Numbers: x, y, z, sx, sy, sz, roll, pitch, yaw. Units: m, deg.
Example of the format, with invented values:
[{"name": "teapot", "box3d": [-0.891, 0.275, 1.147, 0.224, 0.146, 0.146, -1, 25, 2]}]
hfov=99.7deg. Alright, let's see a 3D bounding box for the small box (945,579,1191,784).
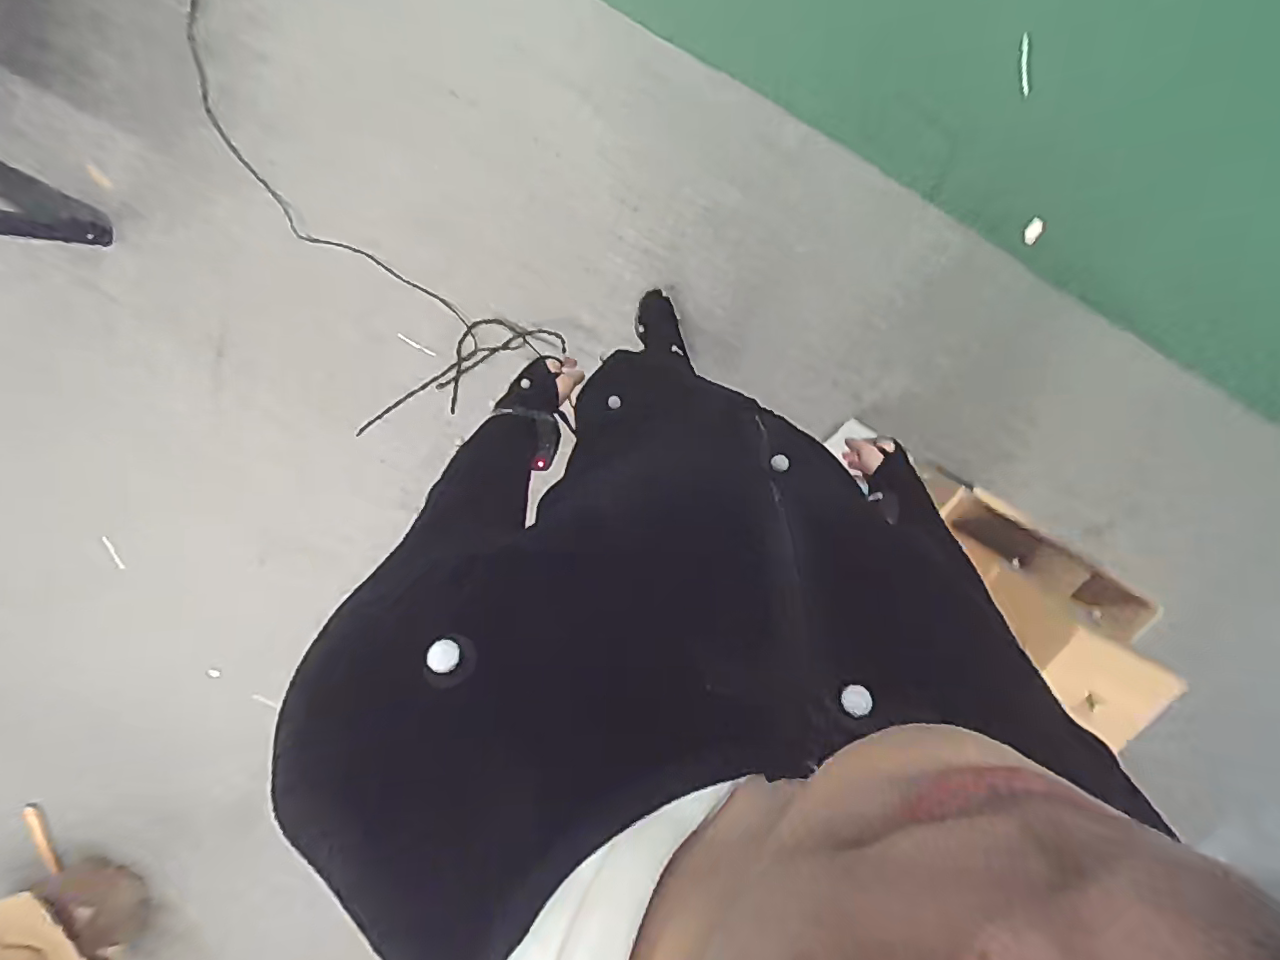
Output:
[{"name": "small box", "box3d": [0.573, 0.269, 0.758, 0.168, 0.176, 0.179, 28, 108, -4]}]
